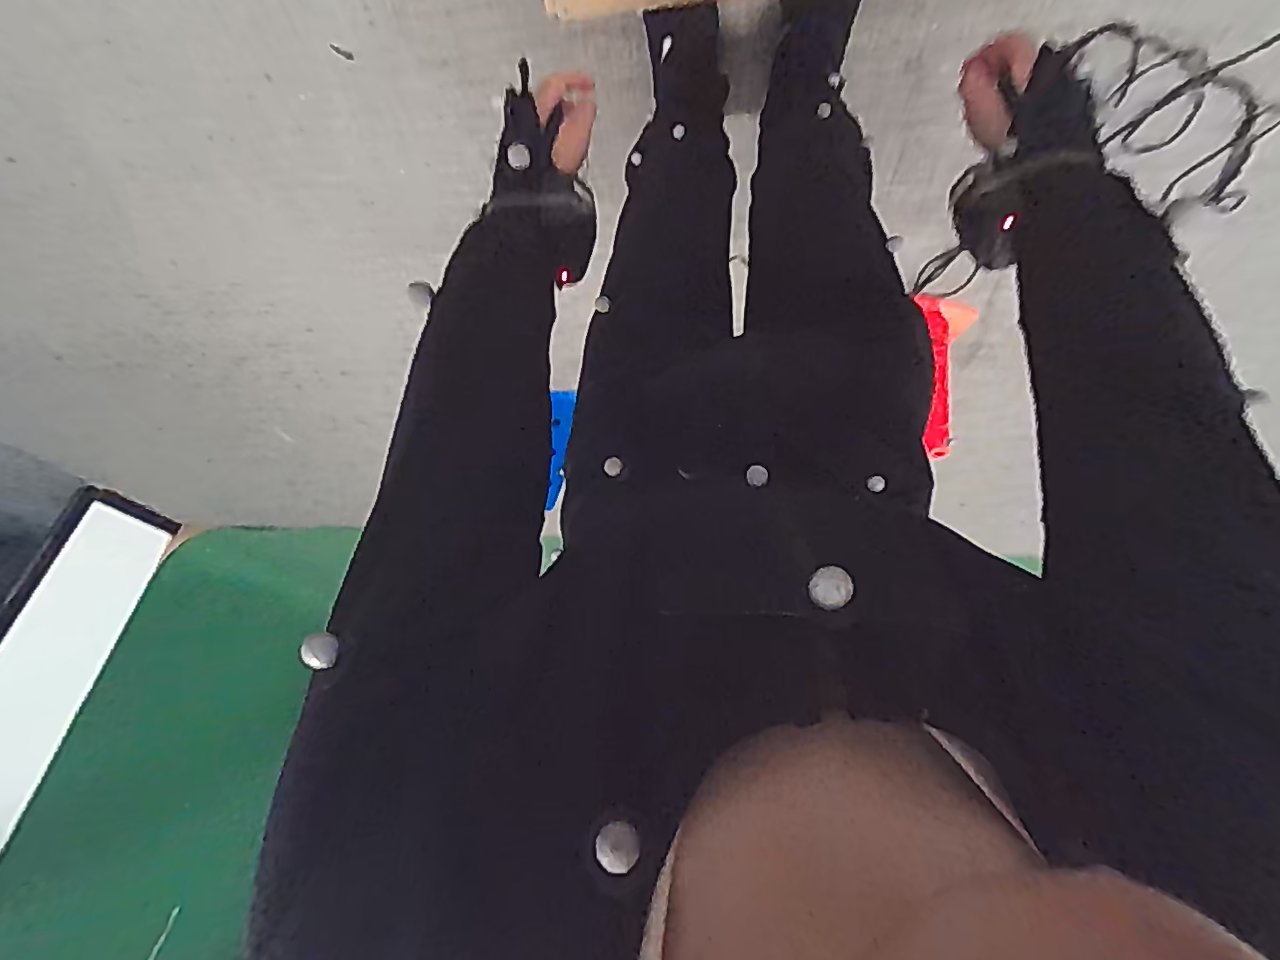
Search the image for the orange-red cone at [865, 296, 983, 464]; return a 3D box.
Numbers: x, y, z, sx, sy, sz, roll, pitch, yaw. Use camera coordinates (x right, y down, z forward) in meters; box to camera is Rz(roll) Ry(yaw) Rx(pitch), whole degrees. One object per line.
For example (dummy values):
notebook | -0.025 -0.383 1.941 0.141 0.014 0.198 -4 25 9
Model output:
orange-red cone | 0.652 -0.198 1.199 0.199 0.360 0.198 10 152 -9
